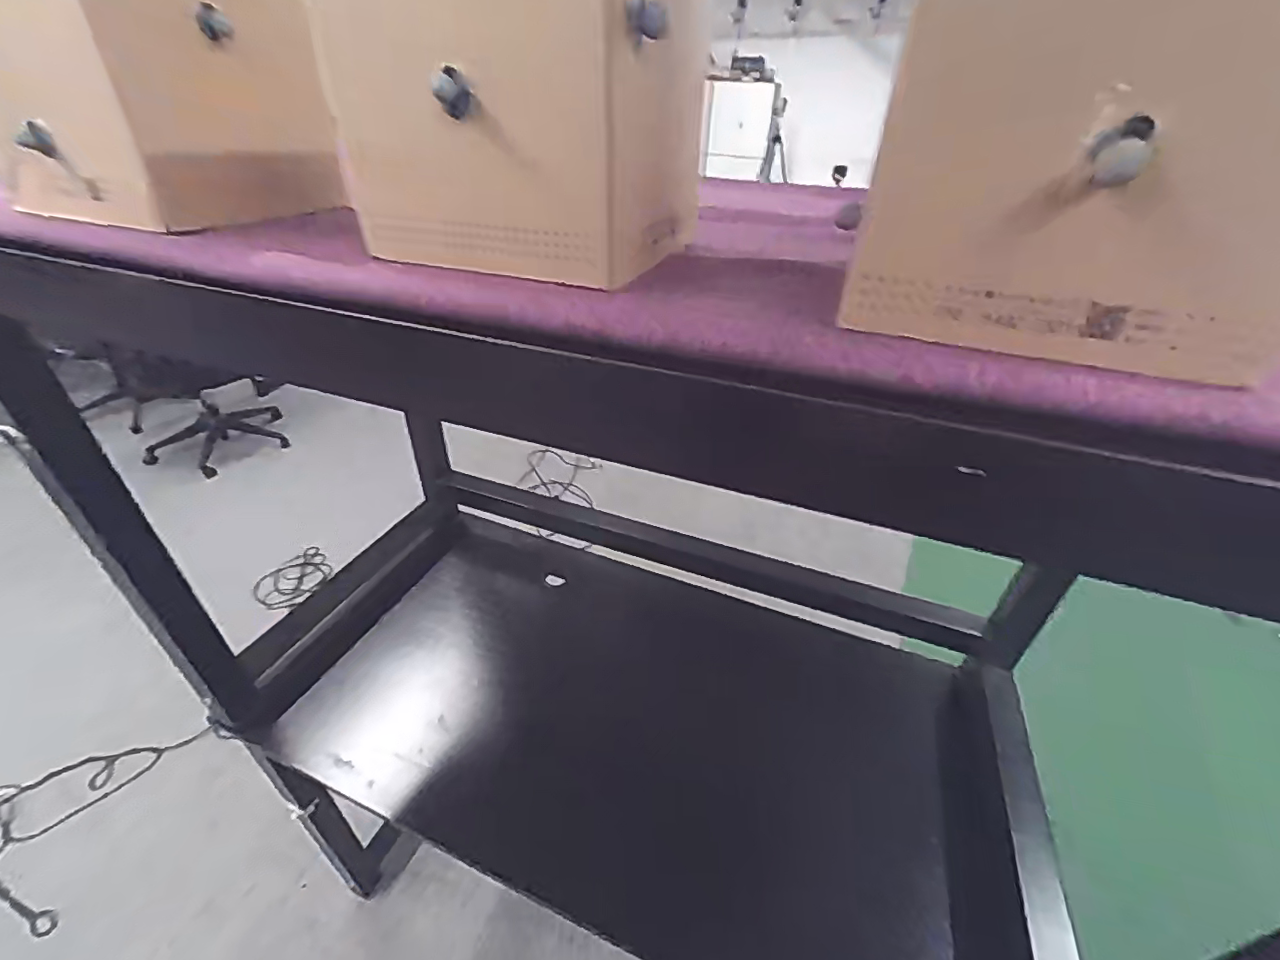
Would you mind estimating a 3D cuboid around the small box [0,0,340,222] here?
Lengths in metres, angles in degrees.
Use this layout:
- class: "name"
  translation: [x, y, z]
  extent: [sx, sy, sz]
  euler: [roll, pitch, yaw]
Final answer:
- class: "small box"
  translation: [-0.370, -0.314, 0.425]
  extent: [0.168, 0.176, 0.179]
  euler: [13, 36, 14]

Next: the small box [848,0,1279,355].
- class: "small box"
  translation: [0.207, -0.174, 0.257]
  extent: [0.168, 0.176, 0.179]
  euler: [15, 38, 18]
